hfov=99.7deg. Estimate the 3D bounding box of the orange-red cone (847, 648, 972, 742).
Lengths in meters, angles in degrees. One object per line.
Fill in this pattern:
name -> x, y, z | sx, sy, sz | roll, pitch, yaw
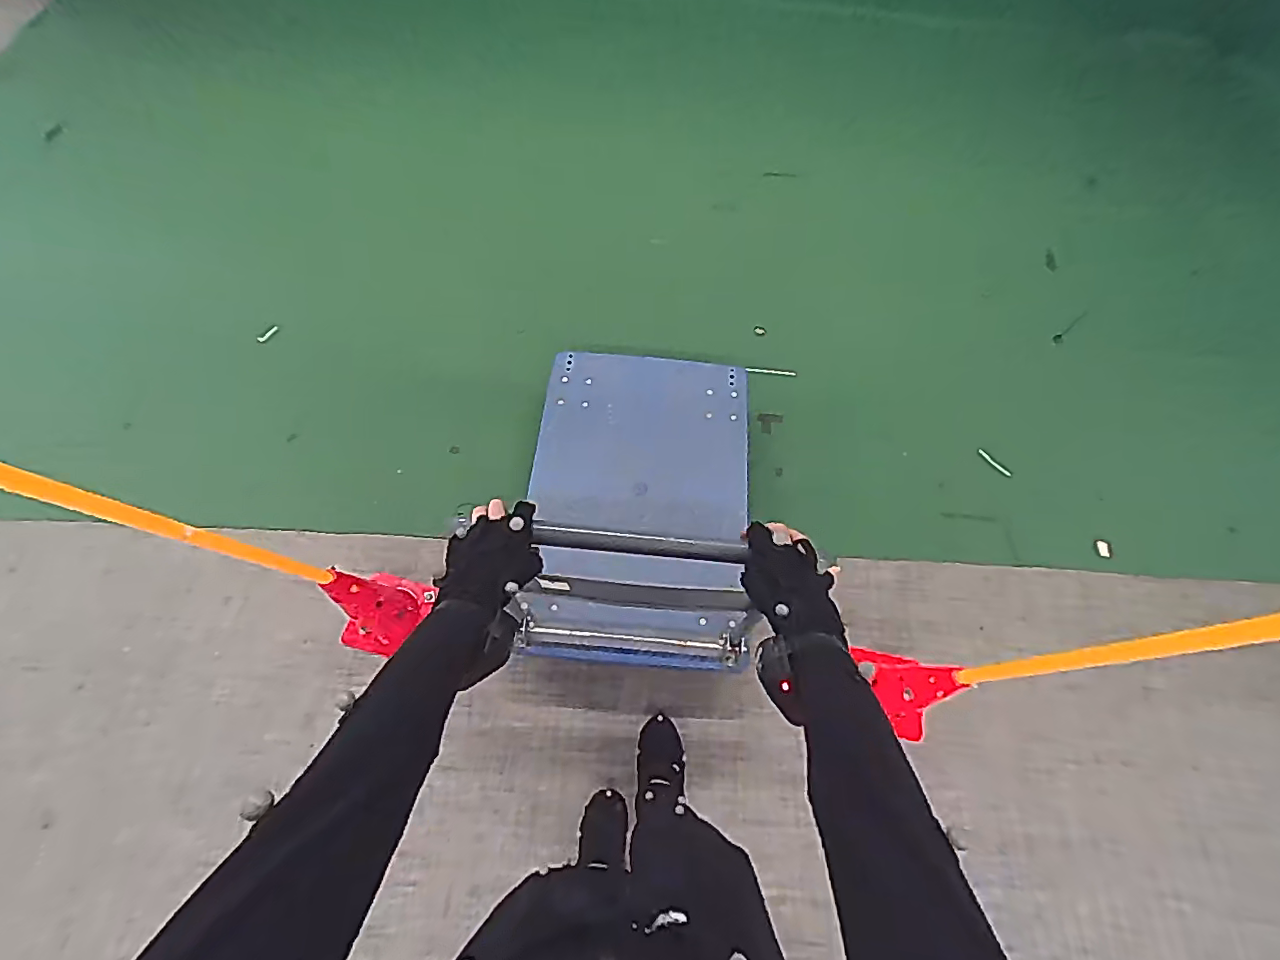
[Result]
orange-red cone -> 0.635, 0.469, 1.225 | 0.198, 0.360, 0.199 | 13, 64, 5
